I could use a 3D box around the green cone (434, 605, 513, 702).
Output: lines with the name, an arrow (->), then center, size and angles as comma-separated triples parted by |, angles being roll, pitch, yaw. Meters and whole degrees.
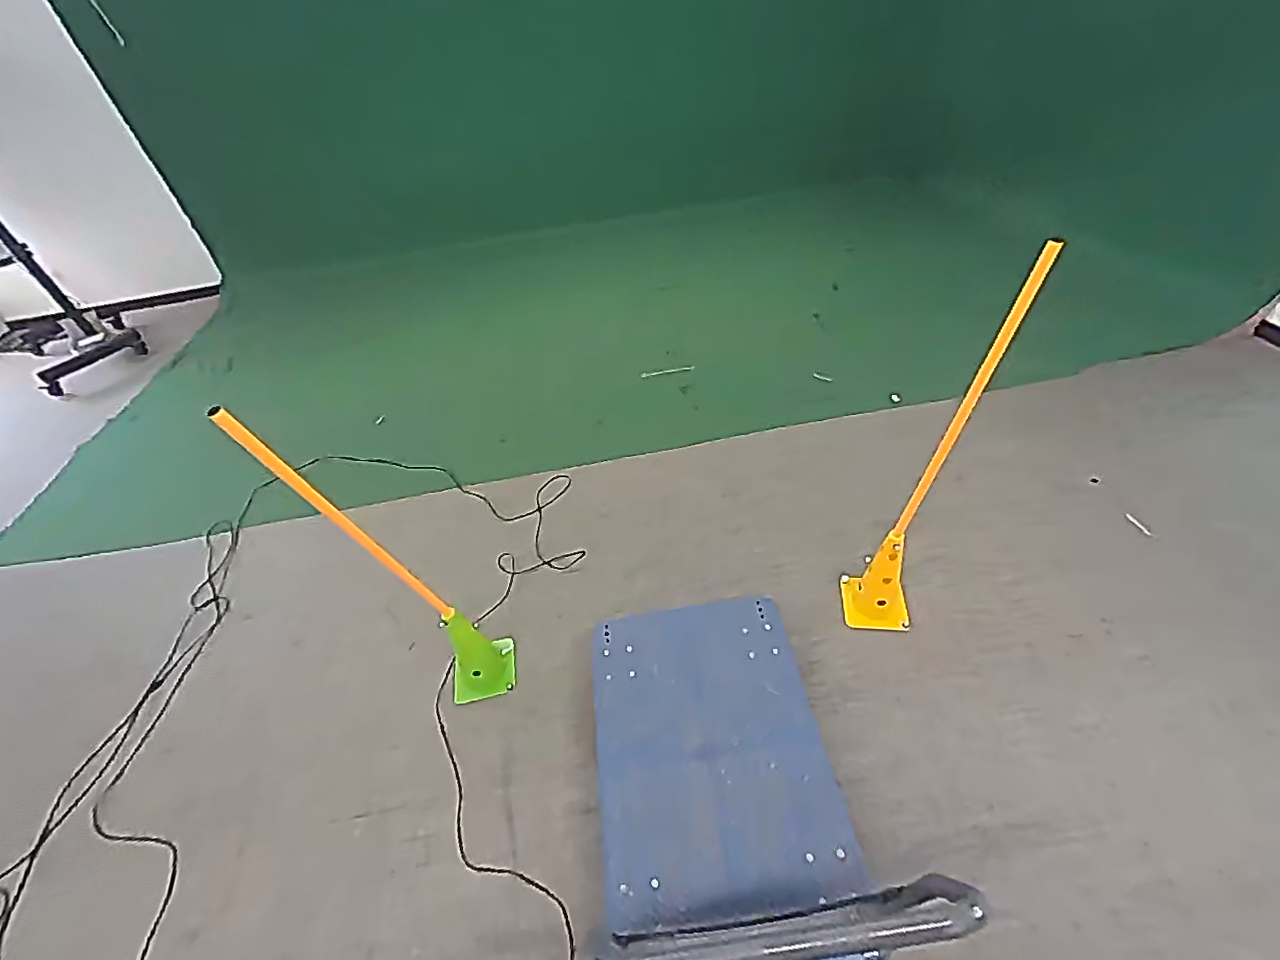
green cone -> -0.546, 0.501, 1.685 | 0.202, 0.368, 0.200 | -14, 43, -4
